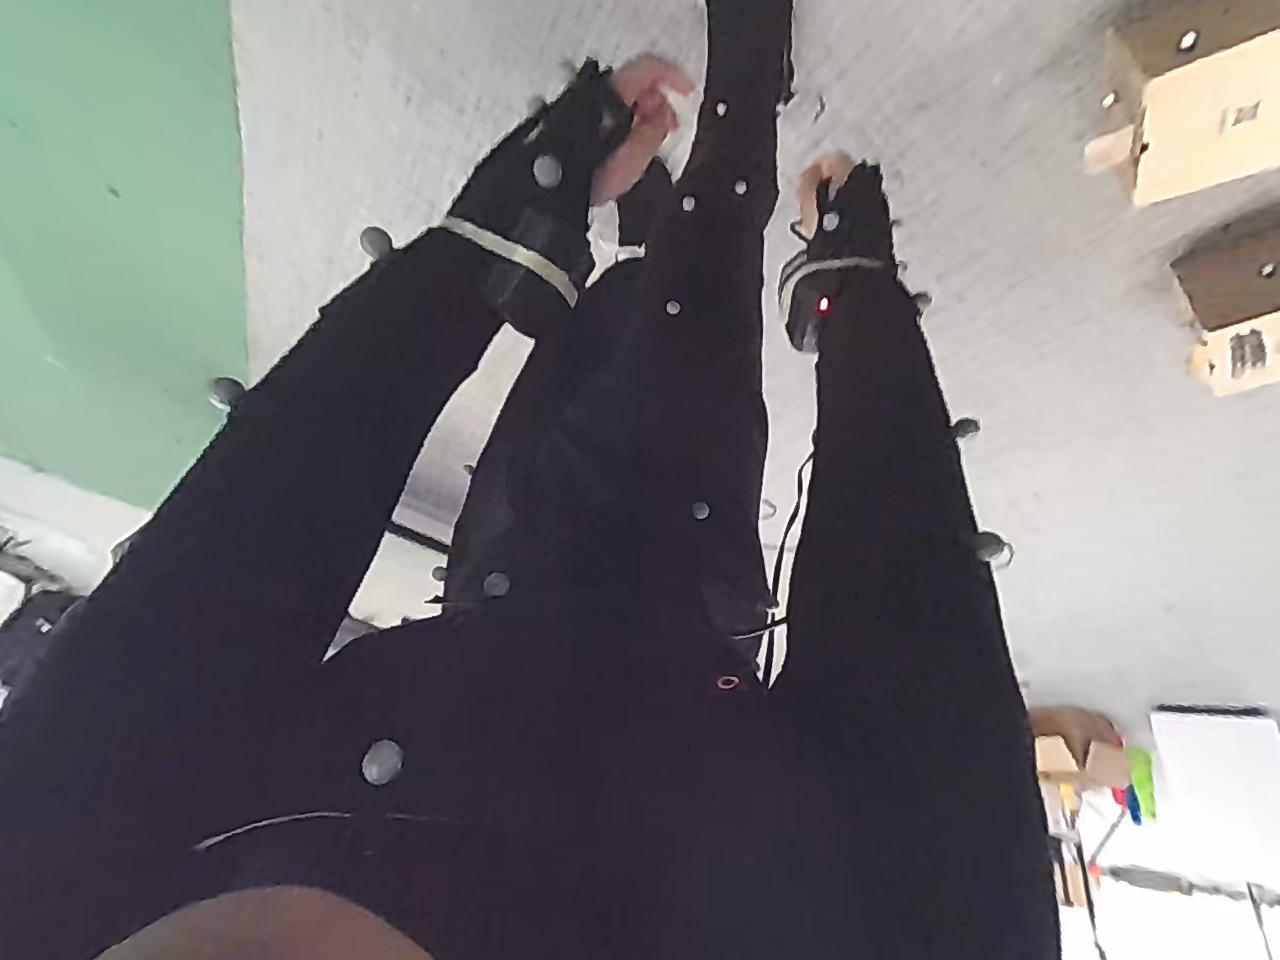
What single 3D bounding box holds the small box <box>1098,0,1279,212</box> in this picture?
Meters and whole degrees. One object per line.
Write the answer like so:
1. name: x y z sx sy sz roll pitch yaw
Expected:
1. small box: 0.687 -0.471 0.648 0.179 0.176 0.168 -8 142 32
